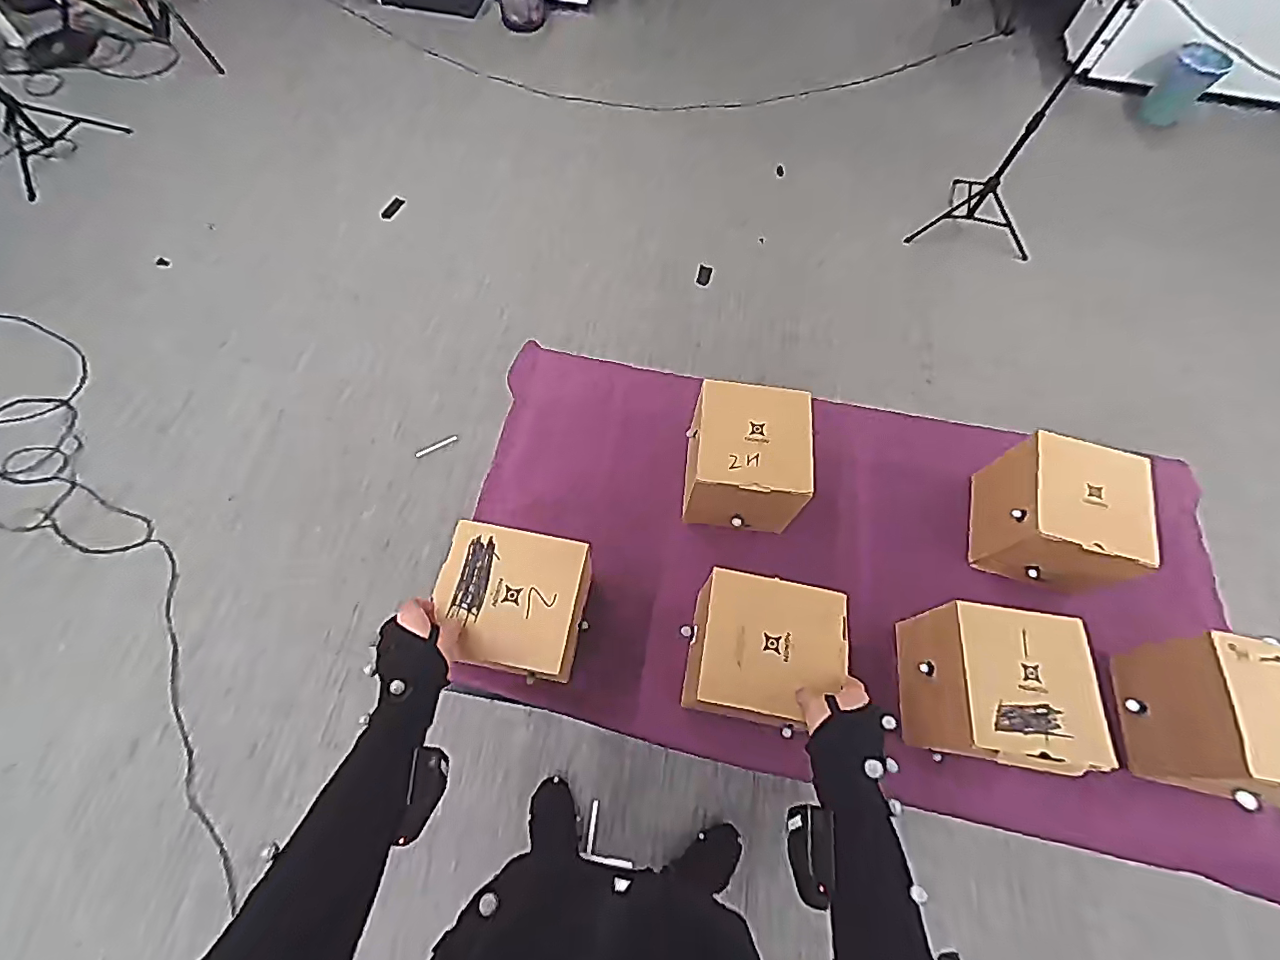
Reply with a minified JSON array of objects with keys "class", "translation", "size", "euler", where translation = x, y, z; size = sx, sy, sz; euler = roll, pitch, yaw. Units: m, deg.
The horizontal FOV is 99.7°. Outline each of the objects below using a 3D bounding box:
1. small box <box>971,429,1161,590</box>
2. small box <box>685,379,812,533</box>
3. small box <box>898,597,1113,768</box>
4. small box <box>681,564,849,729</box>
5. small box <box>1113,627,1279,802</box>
[{"class":"small box","translation":[0.646,0.053,0.843],"size":[0.168,0.176,0.179],"euler":[16,66,5]},{"class":"small box","translation":[0.166,-0.034,0.860],"size":[0.168,0.176,0.179],"euler":[7,65,1]},{"class":"small box","translation":[0.468,0.274,0.725],"size":[0.168,0.176,0.179],"euler":[9,63,1]},{"class":"small box","translation":[0.162,0.231,0.732],"size":[0.179,0.176,0.168],"euler":[12,64,2]},{"class":"small box","translation":[0.788,0.316,0.718],"size":[0.168,0.176,0.179],"euler":[12,63,4]}]
